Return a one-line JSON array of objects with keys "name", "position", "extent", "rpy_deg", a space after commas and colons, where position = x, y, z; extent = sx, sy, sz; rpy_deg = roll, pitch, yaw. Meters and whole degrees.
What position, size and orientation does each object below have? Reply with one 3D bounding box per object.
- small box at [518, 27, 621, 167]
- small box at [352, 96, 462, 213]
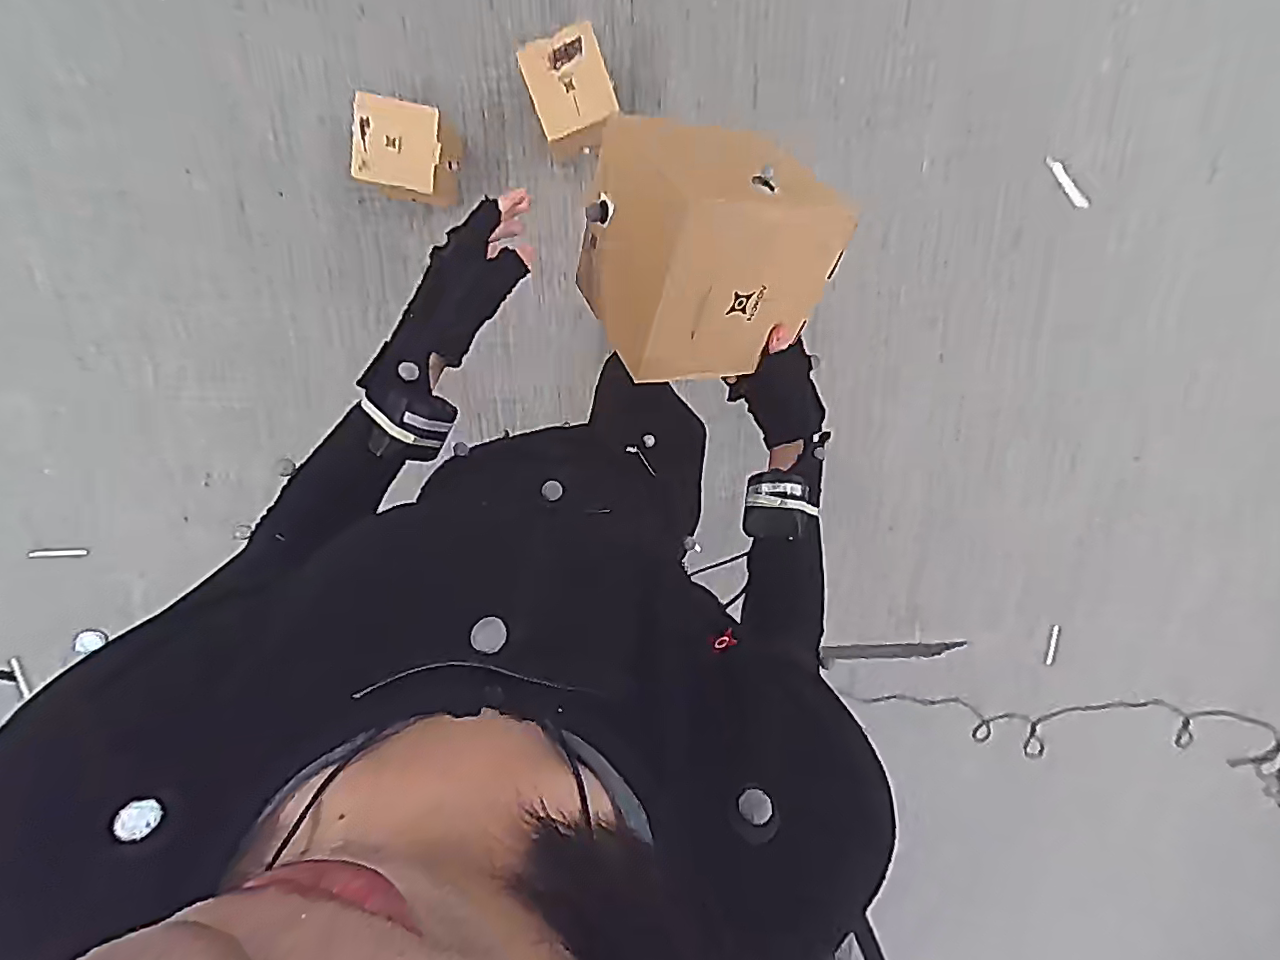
[{"name": "small box", "position": [-0.148, -0.828, 1.188], "extent": [0.168, 0.176, 0.179], "rpy_deg": [-20, 105, 3]}, {"name": "small box", "position": [-0.511, -0.713, 1.207], "extent": [0.179, 0.176, 0.168], "rpy_deg": [11, 104, -5]}]
